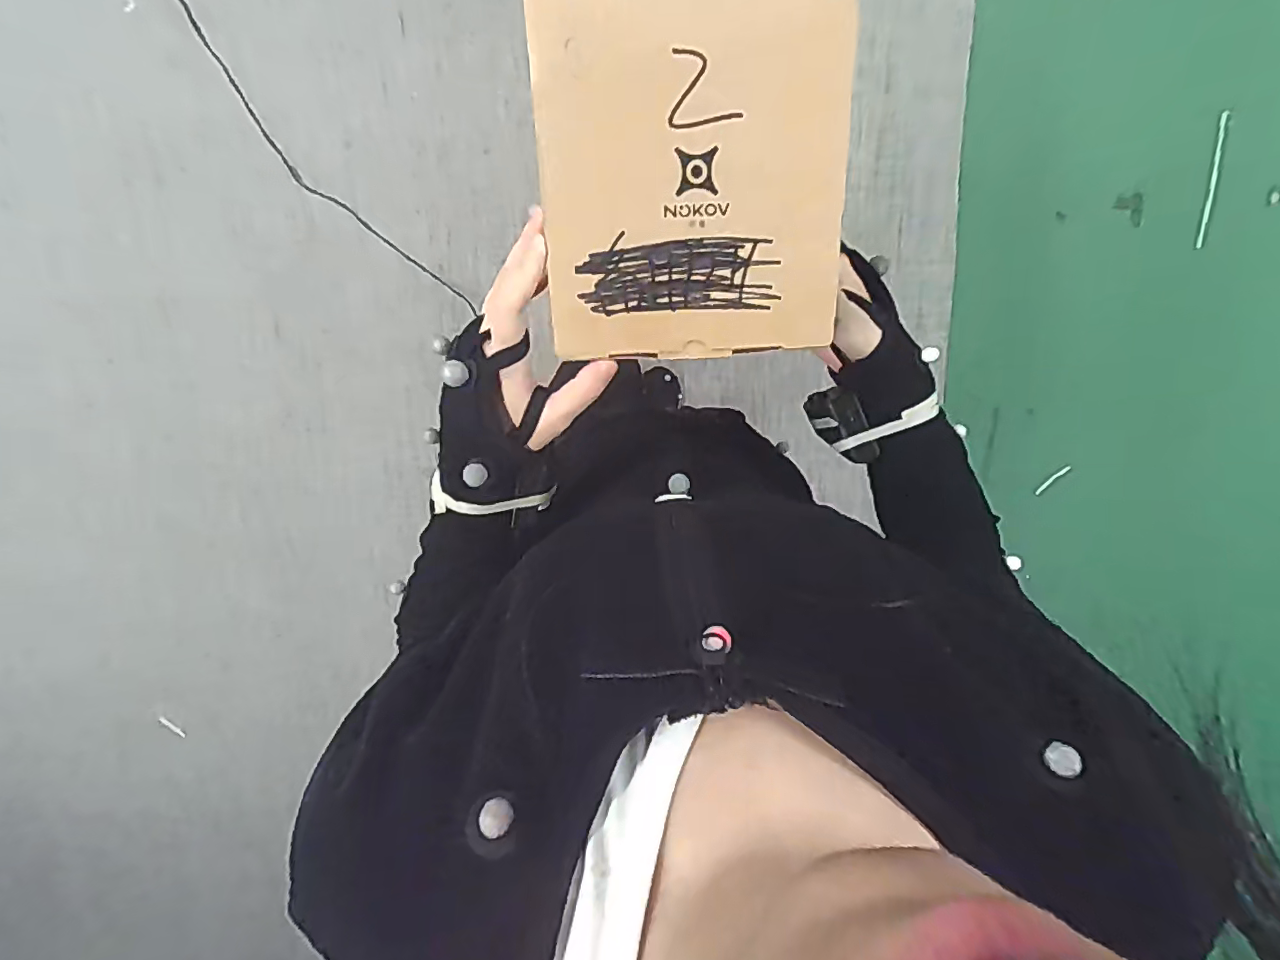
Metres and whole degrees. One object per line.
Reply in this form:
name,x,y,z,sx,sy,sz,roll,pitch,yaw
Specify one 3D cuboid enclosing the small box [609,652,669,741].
small box,-0.003,0.625,1.568,0.168,0.176,0.179,-3,102,-2
